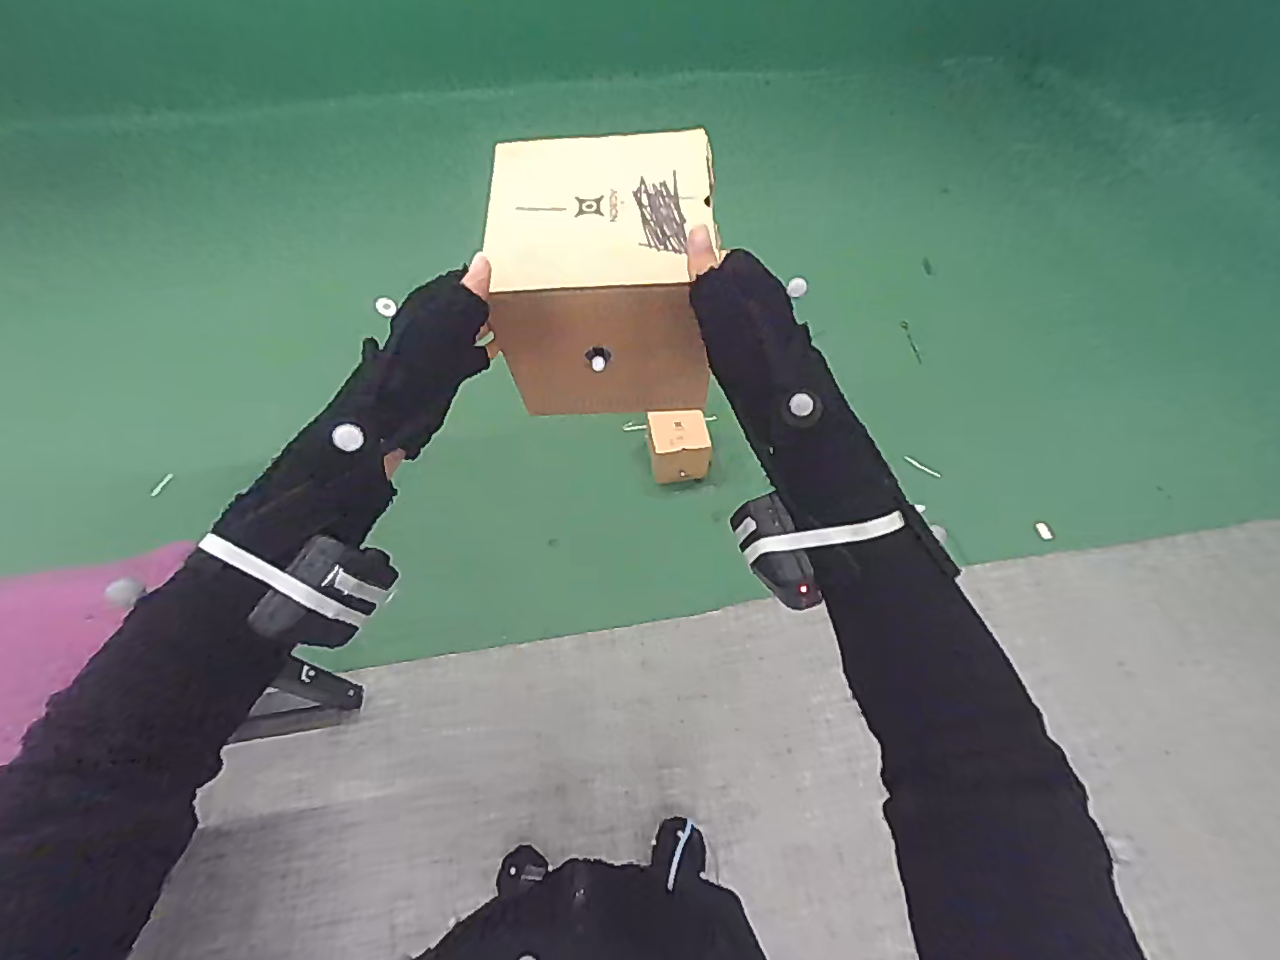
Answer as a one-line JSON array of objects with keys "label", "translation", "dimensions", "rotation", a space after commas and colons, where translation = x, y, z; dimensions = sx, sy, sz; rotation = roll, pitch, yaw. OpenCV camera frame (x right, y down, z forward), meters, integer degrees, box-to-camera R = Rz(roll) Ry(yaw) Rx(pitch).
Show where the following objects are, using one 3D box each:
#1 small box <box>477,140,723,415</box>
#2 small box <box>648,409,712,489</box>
[{"label": "small box", "translation": [-0.024, -0.170, 0.486], "dimensions": [0.179, 0.176, 0.168], "rotation": [1, 63, 3]}, {"label": "small box", "translation": [0.116, -0.094, 1.671], "dimensions": [0.168, 0.176, 0.179], "rotation": [-8, 57, -4]}]
